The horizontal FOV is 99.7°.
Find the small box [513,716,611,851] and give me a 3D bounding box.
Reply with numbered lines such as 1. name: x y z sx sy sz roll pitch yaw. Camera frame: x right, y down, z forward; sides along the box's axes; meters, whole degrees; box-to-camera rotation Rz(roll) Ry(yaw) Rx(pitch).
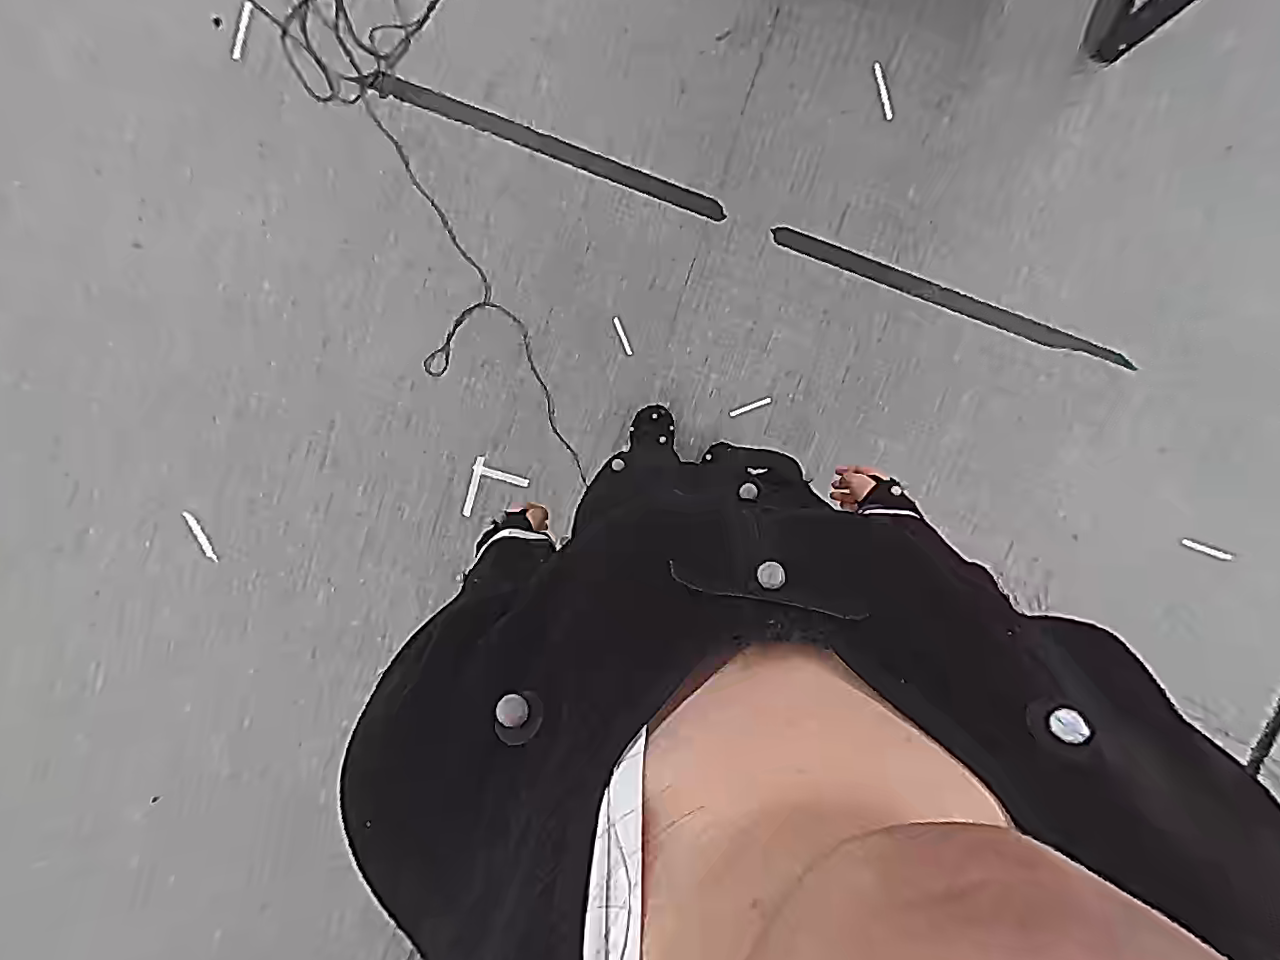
1. small box: -0.165 0.663 1.197 0.168 0.176 0.179 16 96 -2
